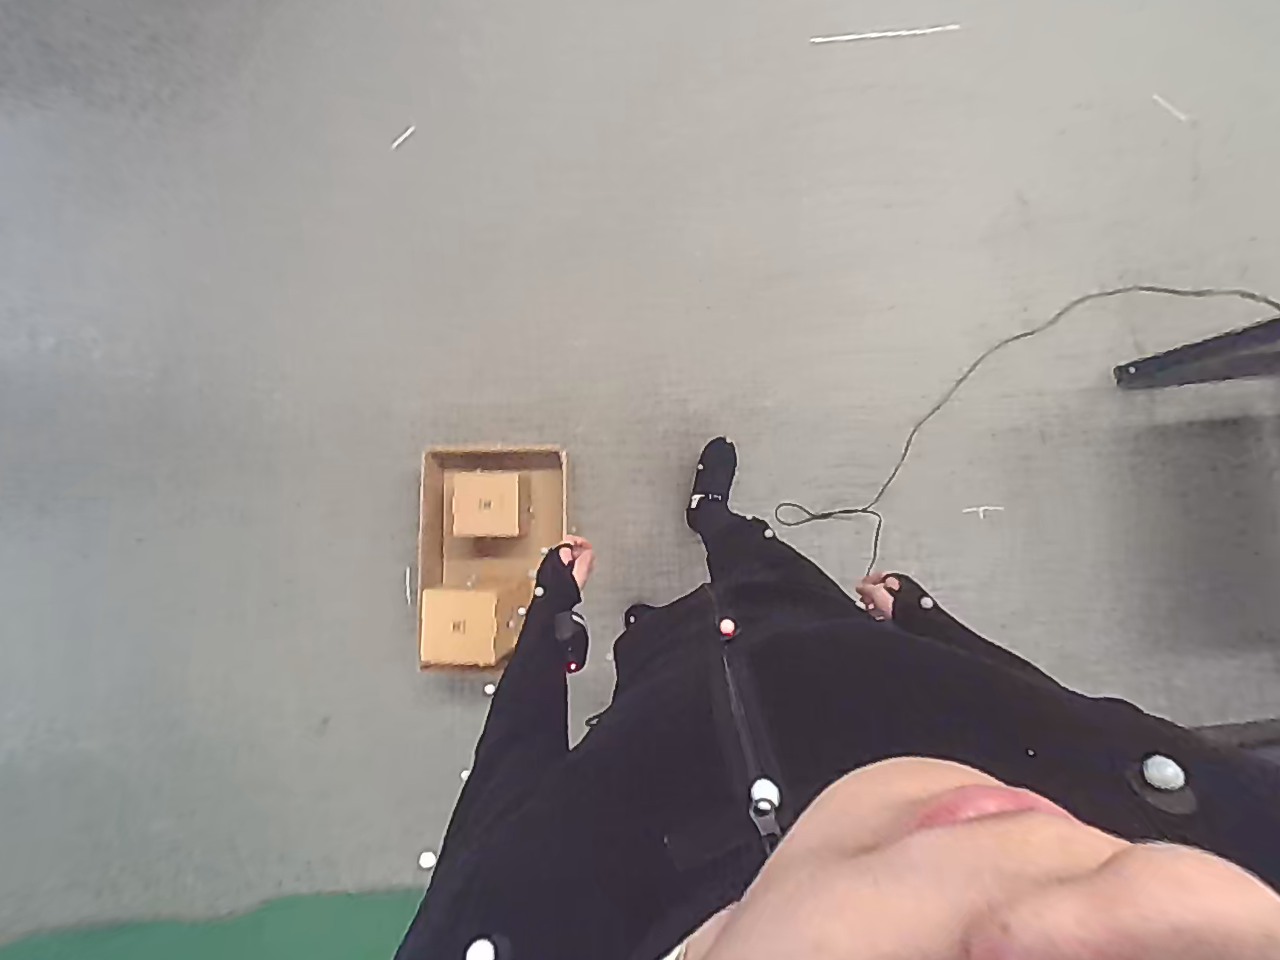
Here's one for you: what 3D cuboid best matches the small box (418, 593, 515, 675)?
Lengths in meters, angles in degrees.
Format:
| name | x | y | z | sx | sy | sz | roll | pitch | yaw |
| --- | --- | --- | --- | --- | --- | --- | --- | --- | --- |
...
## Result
| name | x | y | z | sx | sy | sz | roll | pitch | yaw |
| --- | --- | --- | --- | --- | --- | --- | --- | --- | --- |
| small box | -0.414 | 0.368 | 1.310 | 0.179 | 0.176 | 0.168 | 0 | 85 | 1 |

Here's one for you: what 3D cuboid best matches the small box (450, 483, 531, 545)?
| name | x | y | z | sx | sy | sz | roll | pitch | yaw |
| --- | --- | --- | --- | --- | --- | --- | --- | --- | --- |
| small box | -0.407 | 0.094 | 1.494 | 0.179 | 0.176 | 0.168 | 0 | 87 | 1 |
